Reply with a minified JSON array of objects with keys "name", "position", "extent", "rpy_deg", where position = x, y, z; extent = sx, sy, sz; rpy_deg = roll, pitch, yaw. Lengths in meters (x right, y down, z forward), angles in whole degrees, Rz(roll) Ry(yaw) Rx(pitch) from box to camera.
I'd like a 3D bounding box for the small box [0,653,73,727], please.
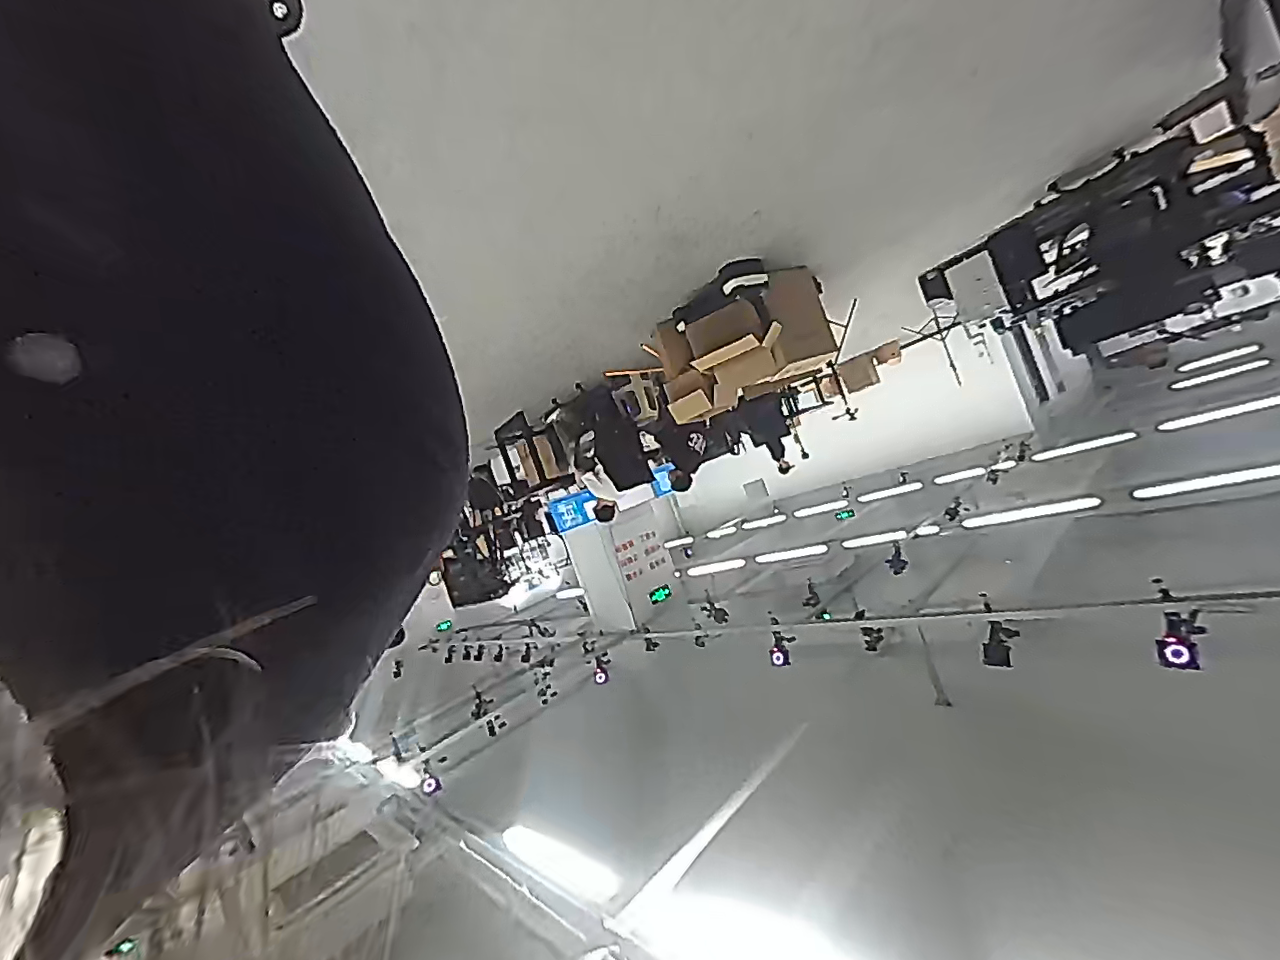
[{"name":"small box","position":[-1.964,0.665,1.724],"extent":[0.168,0.176,0.179],"rpy_deg":[-19,177,-40]}]
